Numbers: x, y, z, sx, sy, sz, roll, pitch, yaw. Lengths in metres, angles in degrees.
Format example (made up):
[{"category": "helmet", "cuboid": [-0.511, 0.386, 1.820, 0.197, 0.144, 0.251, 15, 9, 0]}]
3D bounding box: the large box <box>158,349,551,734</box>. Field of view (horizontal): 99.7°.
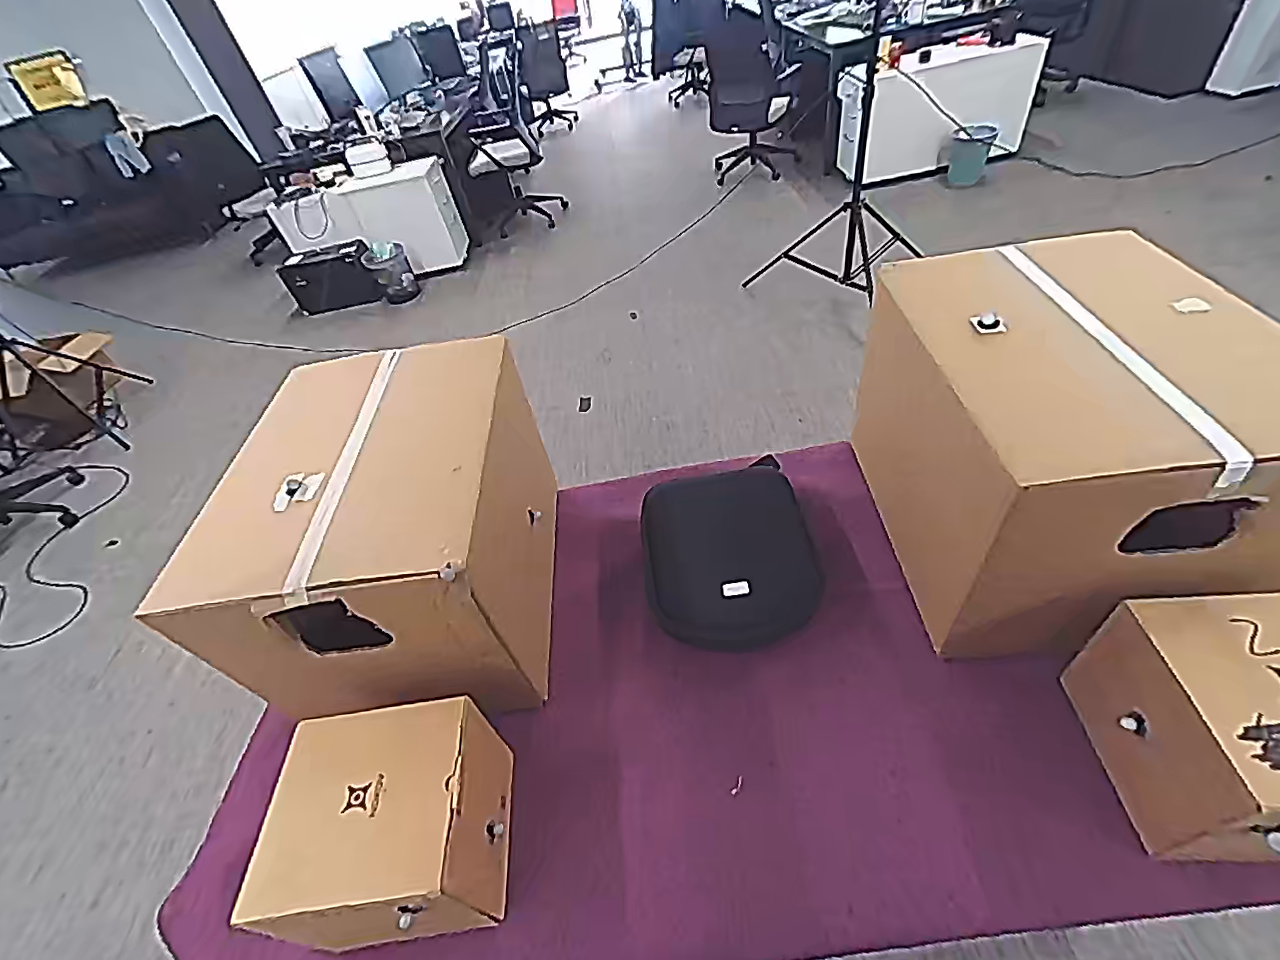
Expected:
[{"category": "large box", "cuboid": [-0.307, 0.077, 0.745, 0.320, 0.320, 0.408, -9, 47, 2]}]
